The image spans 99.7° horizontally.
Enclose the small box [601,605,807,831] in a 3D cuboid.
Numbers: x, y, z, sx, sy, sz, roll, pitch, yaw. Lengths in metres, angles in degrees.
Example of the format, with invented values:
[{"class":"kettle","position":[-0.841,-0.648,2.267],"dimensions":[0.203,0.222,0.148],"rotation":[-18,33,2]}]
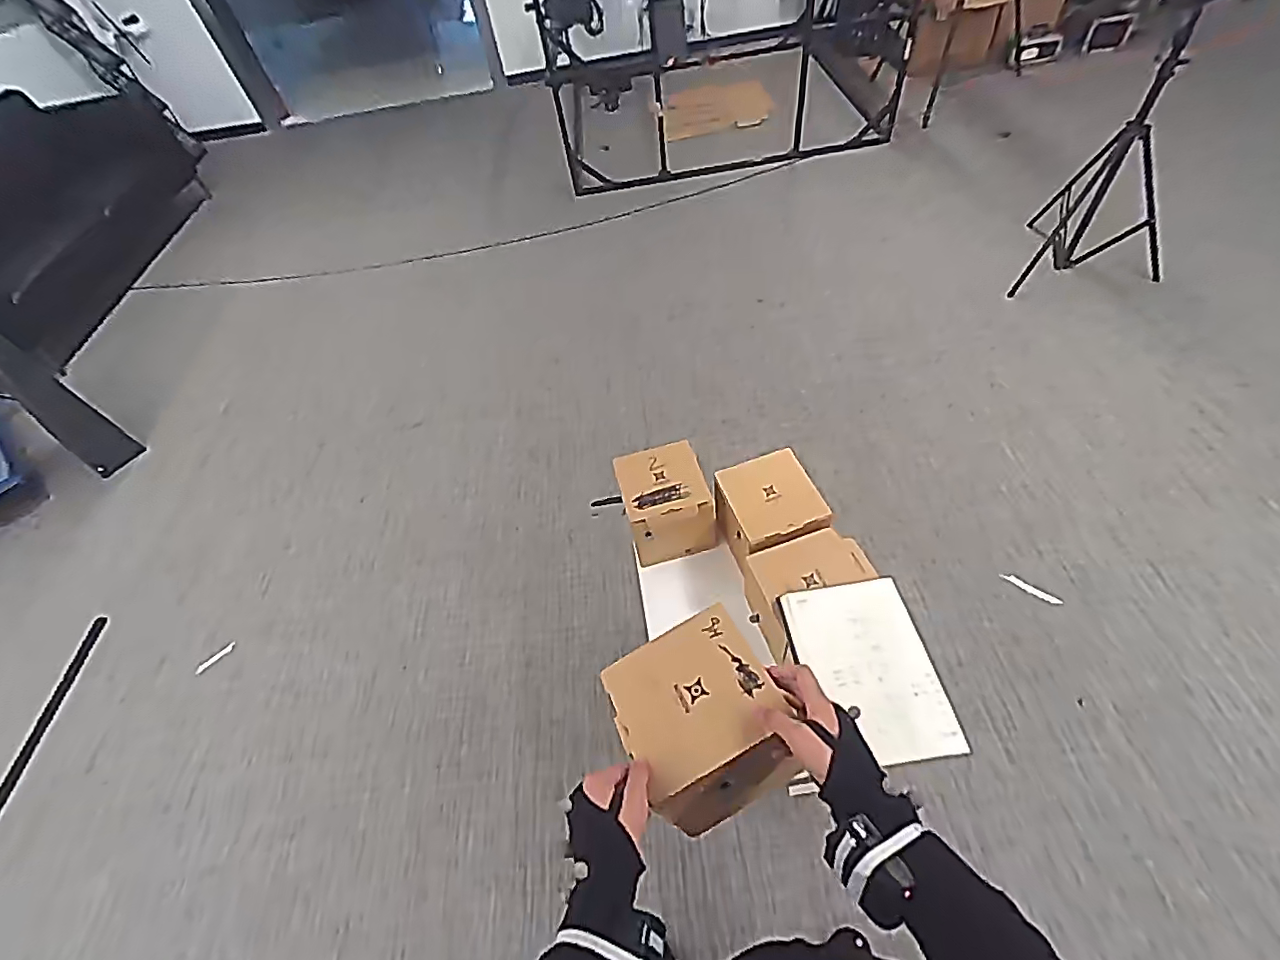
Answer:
[{"class":"small box","position":[0.082,0.294,0.663],"dimensions":[0.179,0.176,0.168],"rotation":[-30,45,-3]}]
